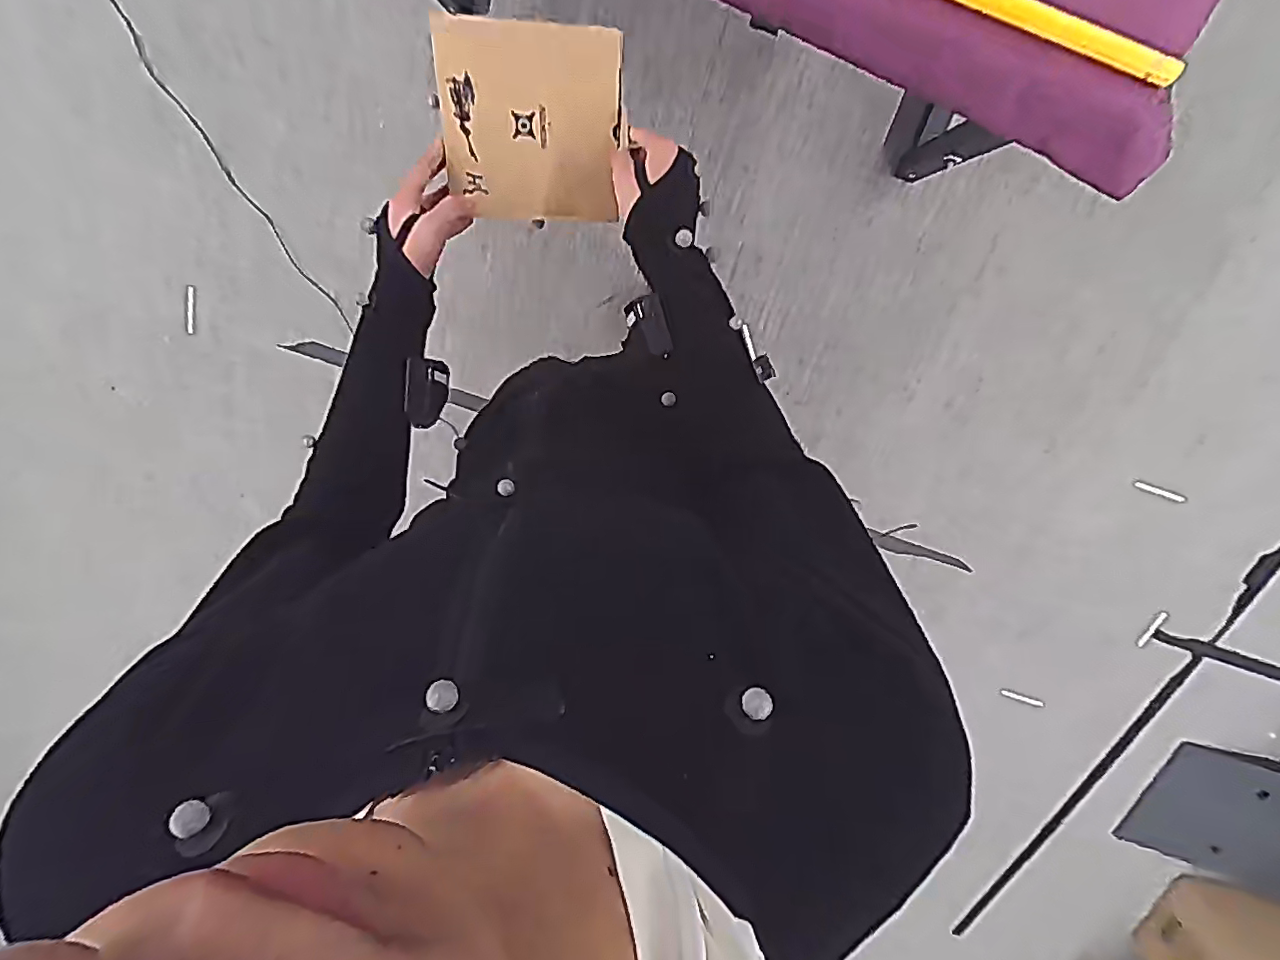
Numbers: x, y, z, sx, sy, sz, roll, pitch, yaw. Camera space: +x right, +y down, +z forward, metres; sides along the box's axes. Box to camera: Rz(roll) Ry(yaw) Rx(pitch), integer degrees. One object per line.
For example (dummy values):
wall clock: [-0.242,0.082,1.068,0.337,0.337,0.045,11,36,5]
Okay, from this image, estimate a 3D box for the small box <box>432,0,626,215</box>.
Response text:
small box: [-0.116,-0.393,0.593,0.179,0.176,0.168,-2,120,-9]
